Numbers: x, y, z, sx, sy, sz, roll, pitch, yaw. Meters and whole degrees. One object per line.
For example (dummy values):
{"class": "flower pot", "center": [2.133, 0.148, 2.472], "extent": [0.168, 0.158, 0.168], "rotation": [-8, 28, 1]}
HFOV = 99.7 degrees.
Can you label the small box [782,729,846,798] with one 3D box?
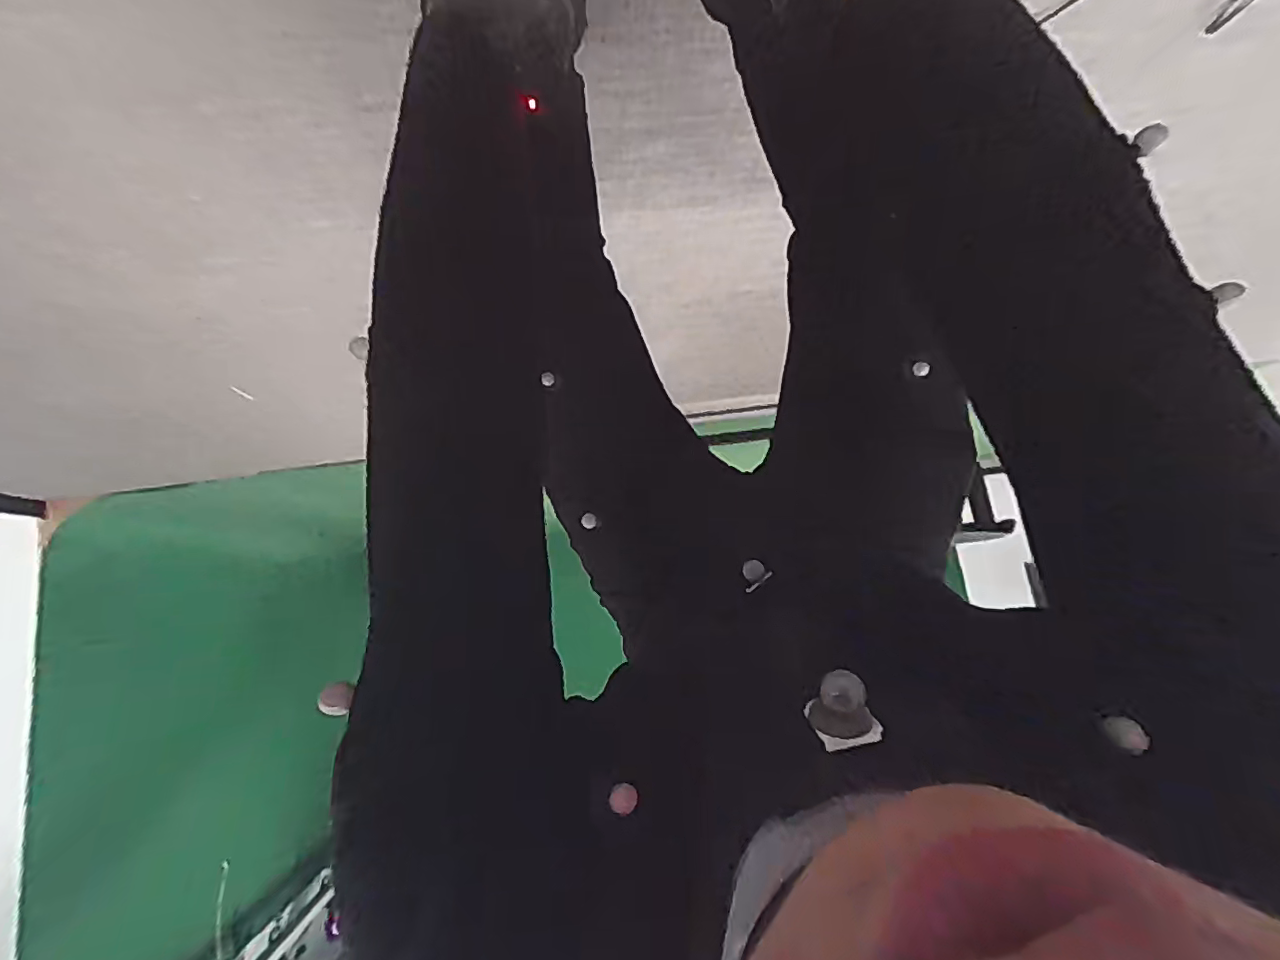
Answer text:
{"class": "small box", "center": [0.609, 0.998, 1.916], "extent": [0.168, 0.176, 0.179], "rotation": [-6, 170, -1]}
